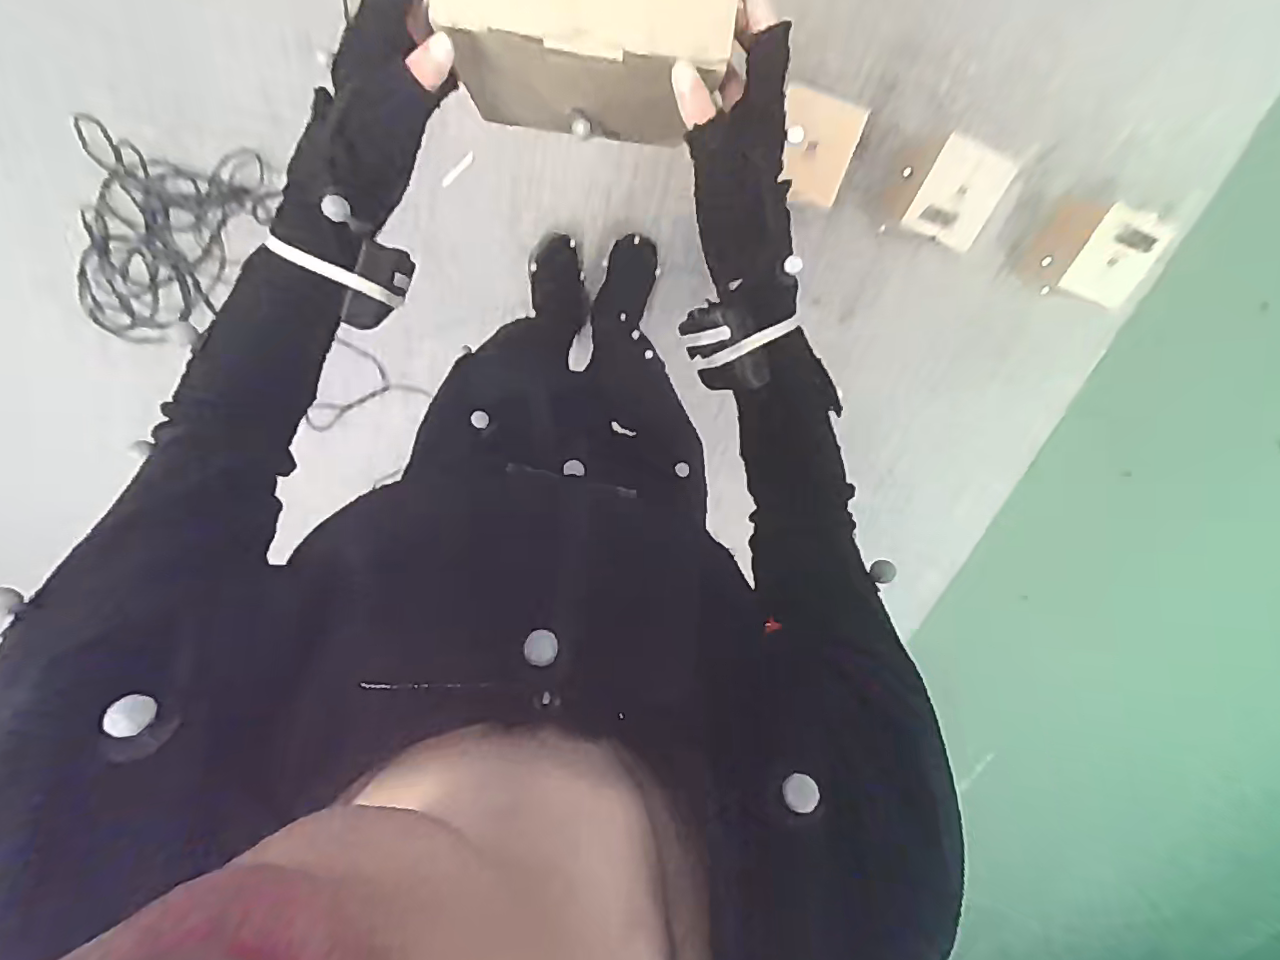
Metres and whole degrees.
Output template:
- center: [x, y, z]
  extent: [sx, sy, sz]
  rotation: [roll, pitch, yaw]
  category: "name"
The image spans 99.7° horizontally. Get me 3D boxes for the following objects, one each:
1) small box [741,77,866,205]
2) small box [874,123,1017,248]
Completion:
- center: [0.318, -0.678, 1.095]
  extent: [0.168, 0.176, 0.179]
  rotation: [12, 119, -8]
  category: "small box"
- center: [0.623, -0.615, 1.137]
  extent: [0.168, 0.176, 0.179]
  rotation: [18, 117, -12]
  category: "small box"
